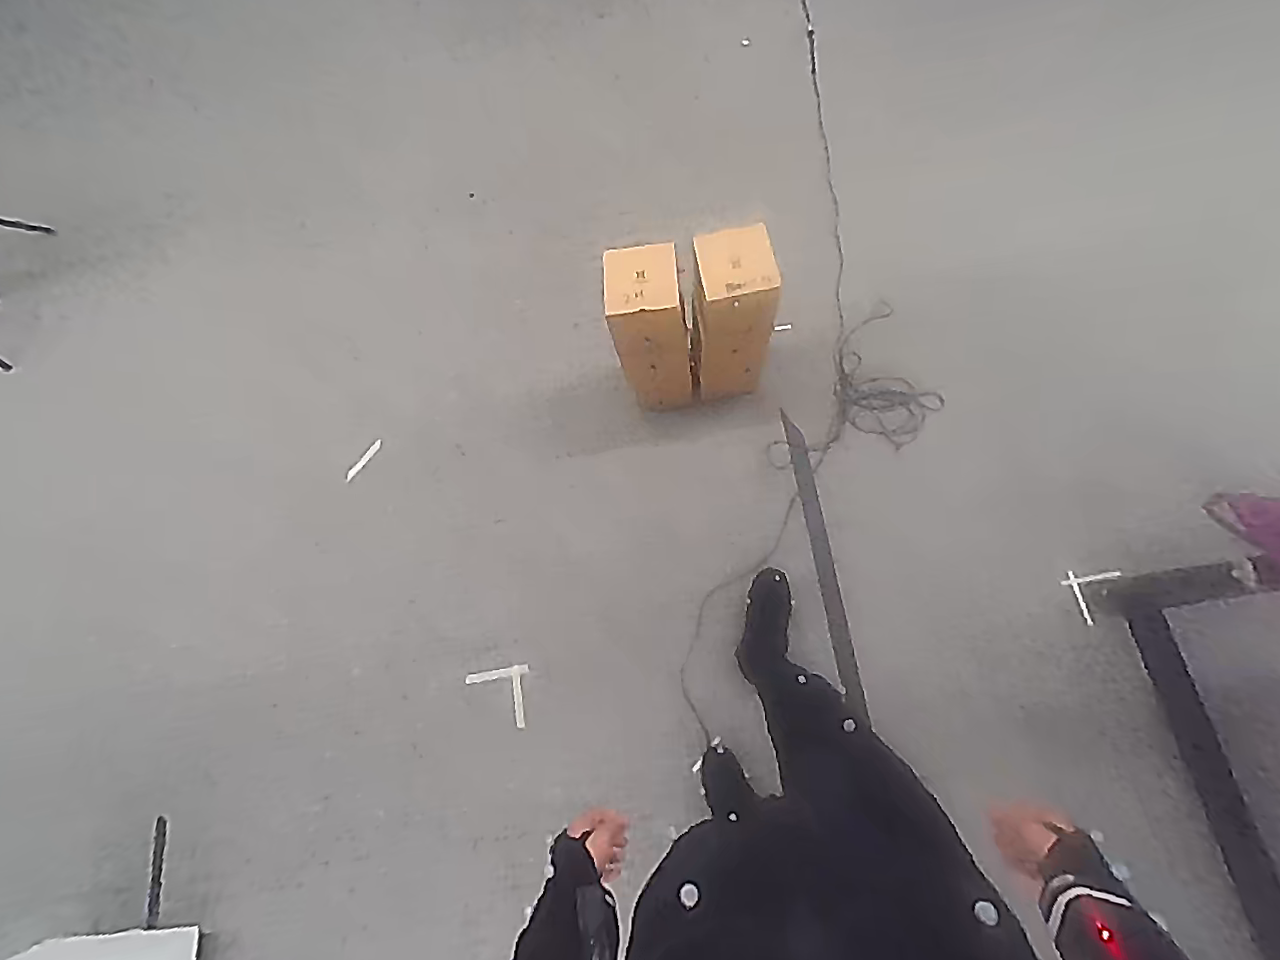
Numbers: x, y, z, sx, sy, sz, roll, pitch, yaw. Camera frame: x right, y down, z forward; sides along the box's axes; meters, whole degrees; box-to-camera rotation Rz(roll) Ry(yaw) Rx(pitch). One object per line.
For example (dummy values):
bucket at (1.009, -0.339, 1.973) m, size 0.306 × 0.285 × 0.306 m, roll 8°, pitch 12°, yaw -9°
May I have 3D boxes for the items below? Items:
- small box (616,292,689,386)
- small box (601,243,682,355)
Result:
small box at (0.035, -0.360, 1.410) m, size 0.179 × 0.176 × 0.168 m, roll -6°, pitch 72°, yaw 8°
small box at (0.007, -0.415, 1.257) m, size 0.168 × 0.176 × 0.179 m, roll -6°, pitch 73°, yaw 7°
